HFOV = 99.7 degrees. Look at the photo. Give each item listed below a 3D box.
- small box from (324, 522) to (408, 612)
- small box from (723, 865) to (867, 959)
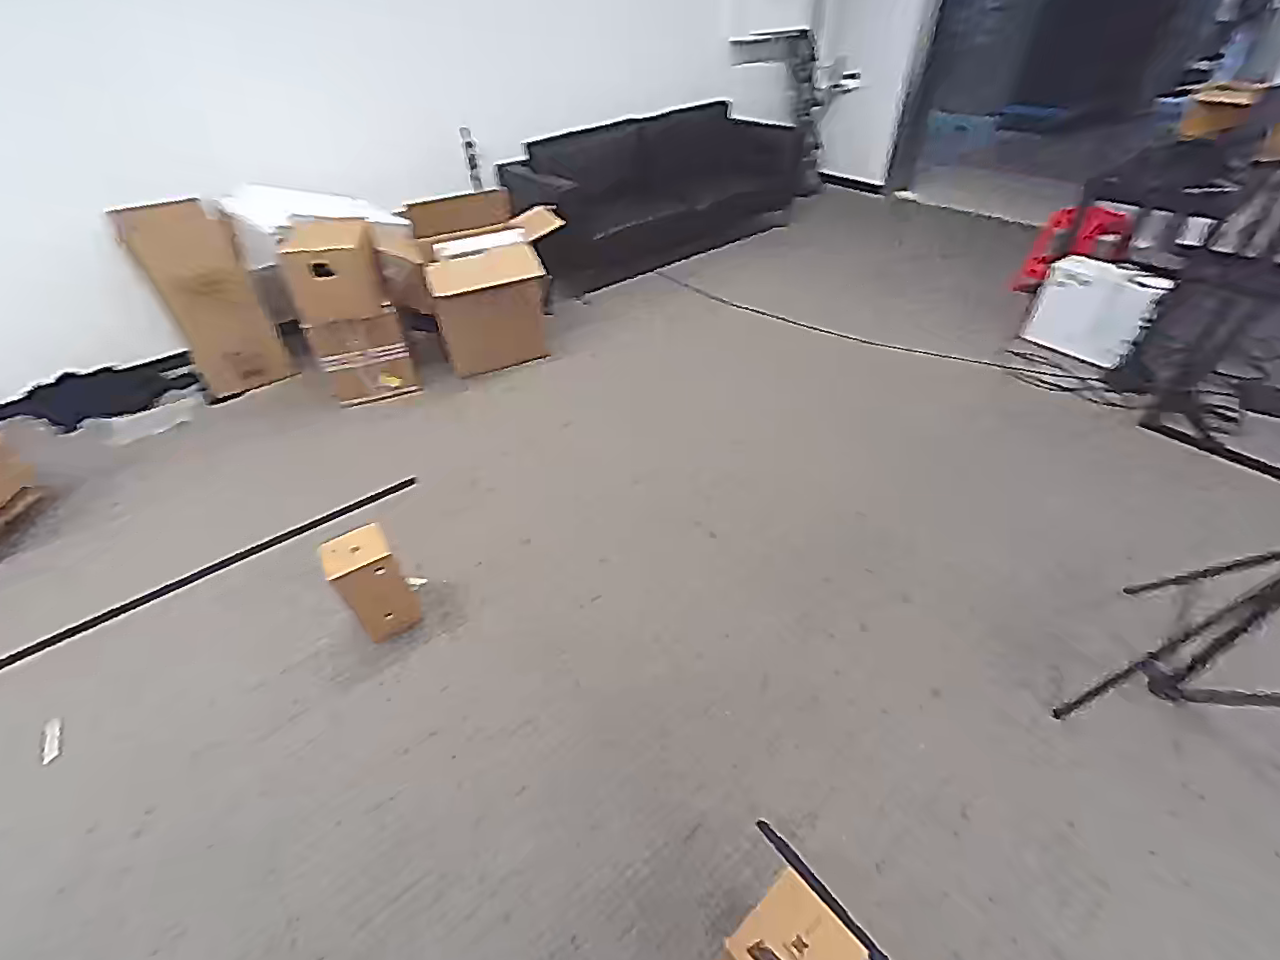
[{"bbox_3d":[-0.831,0.267,1.656,0.179,0.176,0.168,-26,46,-22],"label":"small box"},{"bbox_3d":[0.262,0.836,0.948,0.179,0.176,0.168,-31,49,-28],"label":"small box"}]
